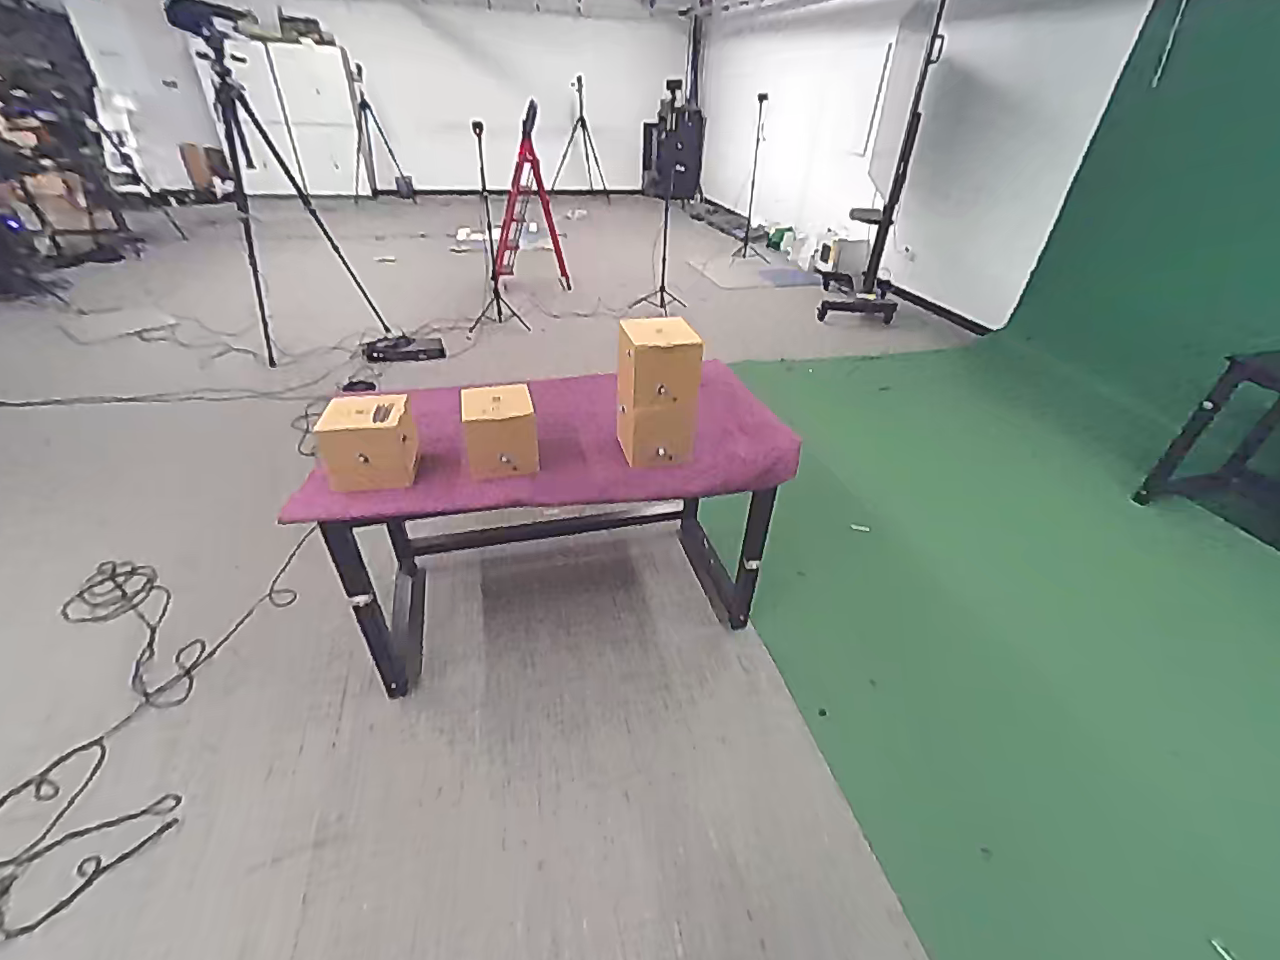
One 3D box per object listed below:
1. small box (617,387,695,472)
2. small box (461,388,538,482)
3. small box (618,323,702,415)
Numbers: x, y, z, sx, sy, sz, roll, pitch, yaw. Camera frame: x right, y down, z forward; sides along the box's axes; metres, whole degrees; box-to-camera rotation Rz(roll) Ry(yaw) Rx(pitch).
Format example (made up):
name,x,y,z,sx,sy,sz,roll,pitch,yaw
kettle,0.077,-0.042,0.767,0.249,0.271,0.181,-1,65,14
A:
name,x,y,z,sx,sy,sz,roll,pitch,yaw
small box,0.035,-0.141,1.428,0.168,0.176,0.179,-7,37,-13
small box,-0.354,-0.114,1.359,0.168,0.176,0.179,-8,36,-14
small box,0.041,-0.277,1.339,0.168,0.176,0.179,-7,37,-14
